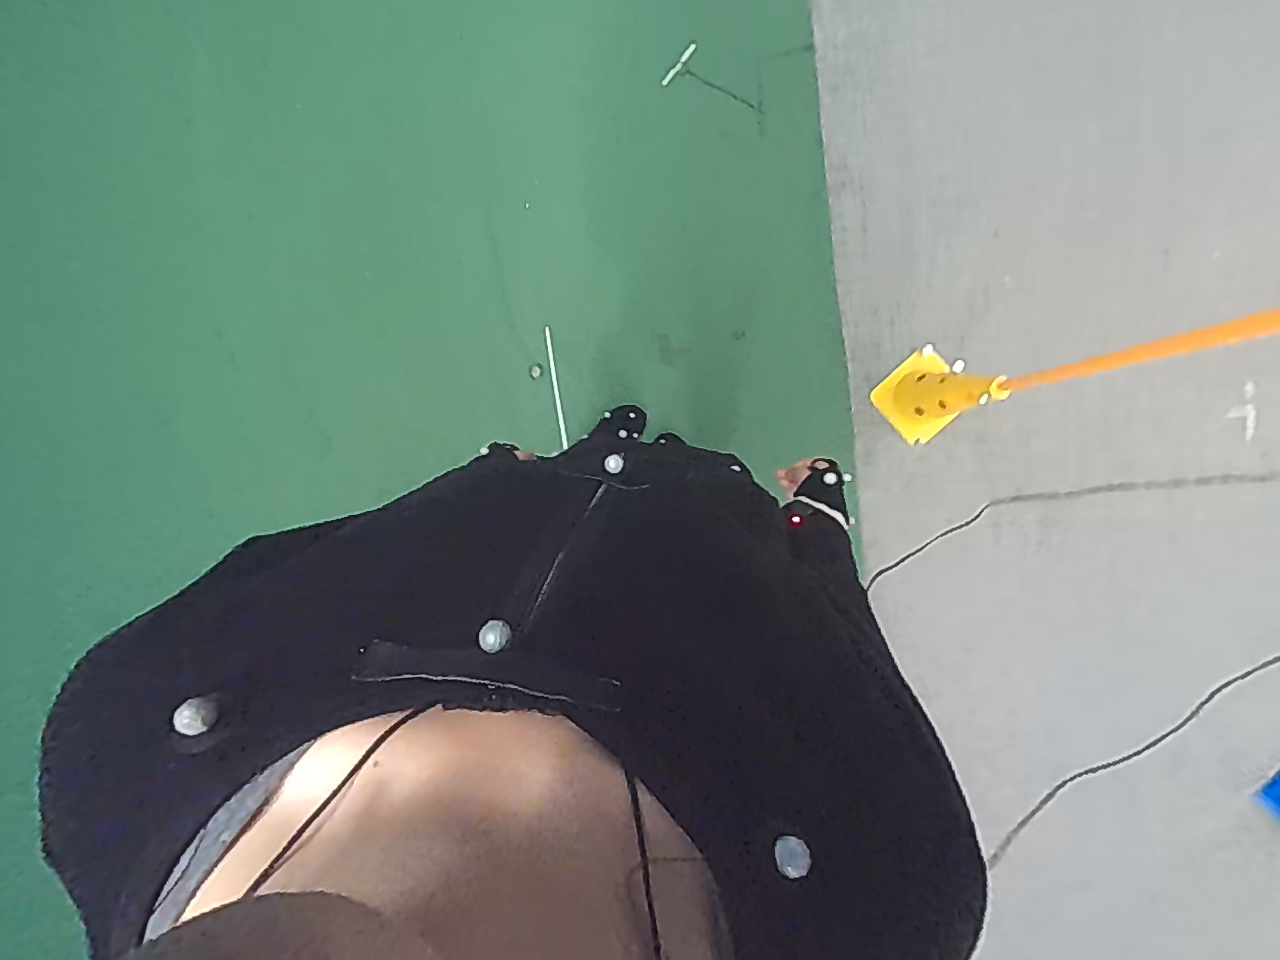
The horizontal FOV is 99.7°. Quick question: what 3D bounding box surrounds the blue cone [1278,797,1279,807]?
[{"bbox_3d":[1.827,0.868,1.279,0.193,0.380,0.192,38,97,-3],"label":"blue cone"}]
